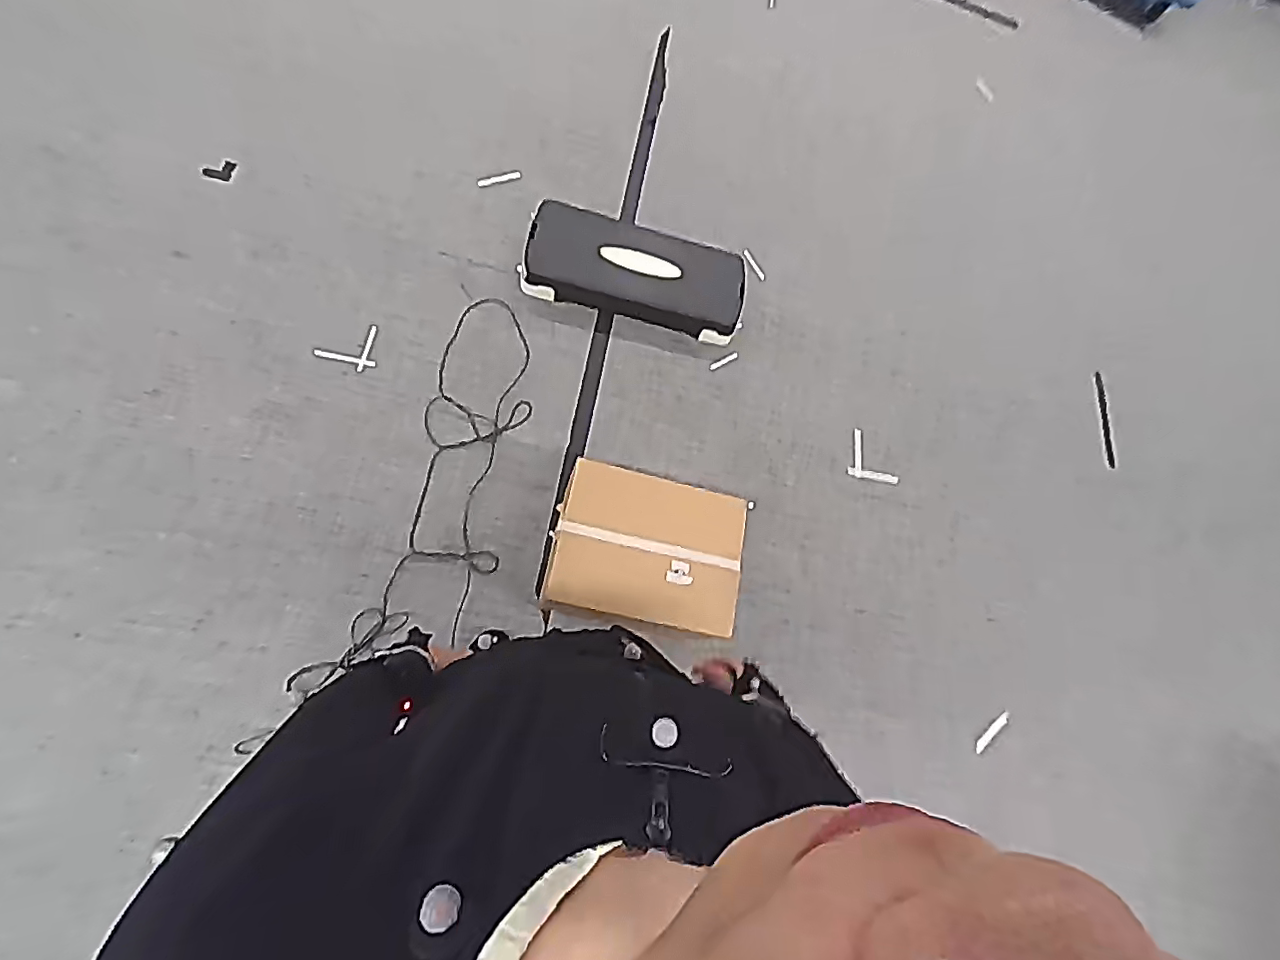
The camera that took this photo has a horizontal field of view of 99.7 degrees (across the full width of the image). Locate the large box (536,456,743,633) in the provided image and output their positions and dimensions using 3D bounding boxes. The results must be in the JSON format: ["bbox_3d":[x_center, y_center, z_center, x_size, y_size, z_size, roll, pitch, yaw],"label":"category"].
[{"bbox_3d":[-0.014,0.174,1.291,0.408,0.320,0.320,14,72,-10],"label":"large box"}]
